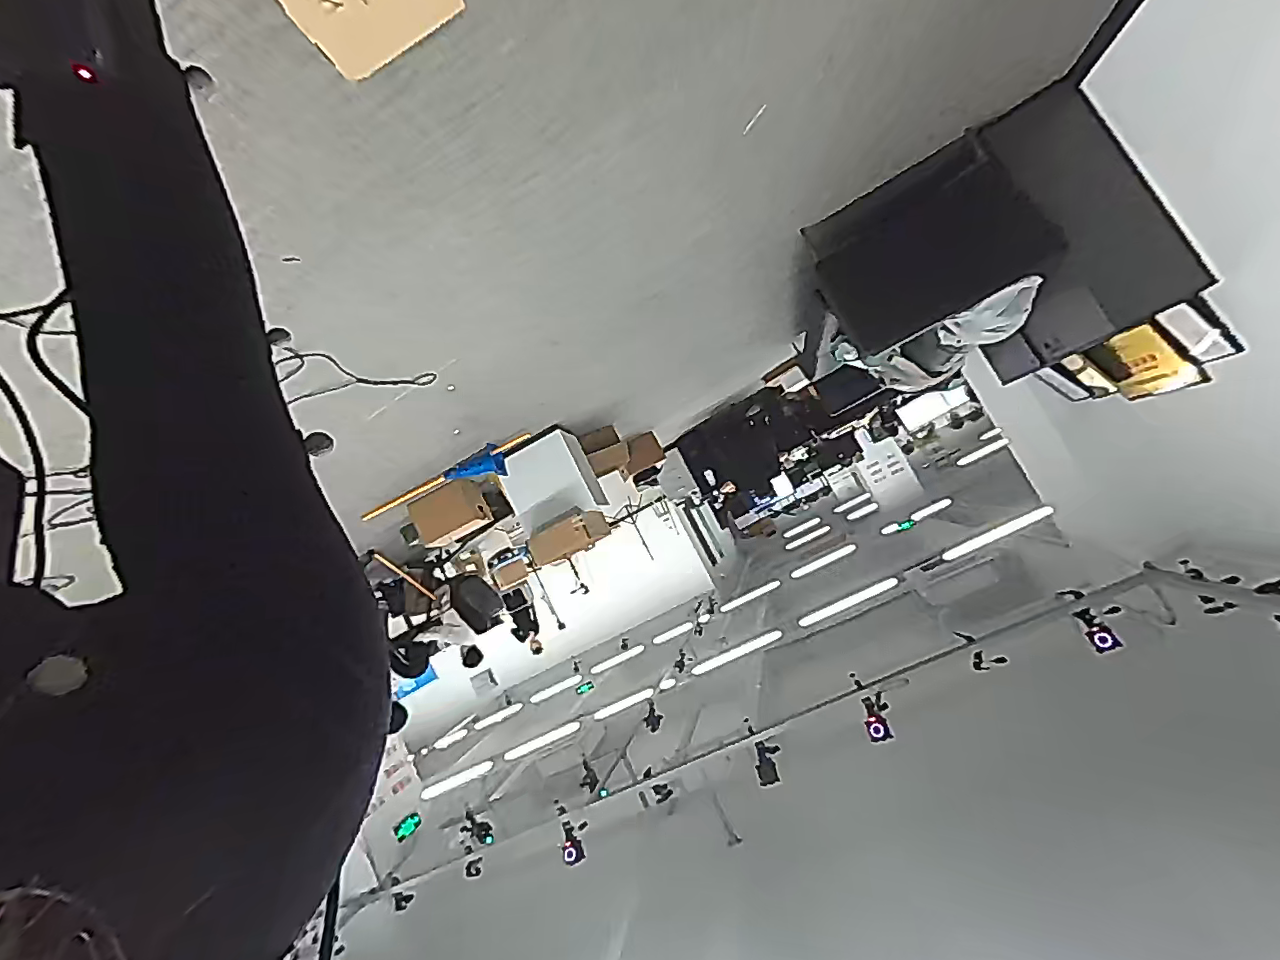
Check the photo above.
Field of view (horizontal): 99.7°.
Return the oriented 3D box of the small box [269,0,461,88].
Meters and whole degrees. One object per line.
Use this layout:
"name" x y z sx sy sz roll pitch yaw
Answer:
"small box" -0.340 -0.605 0.595 0.179 0.176 0.168 -28 173 7
